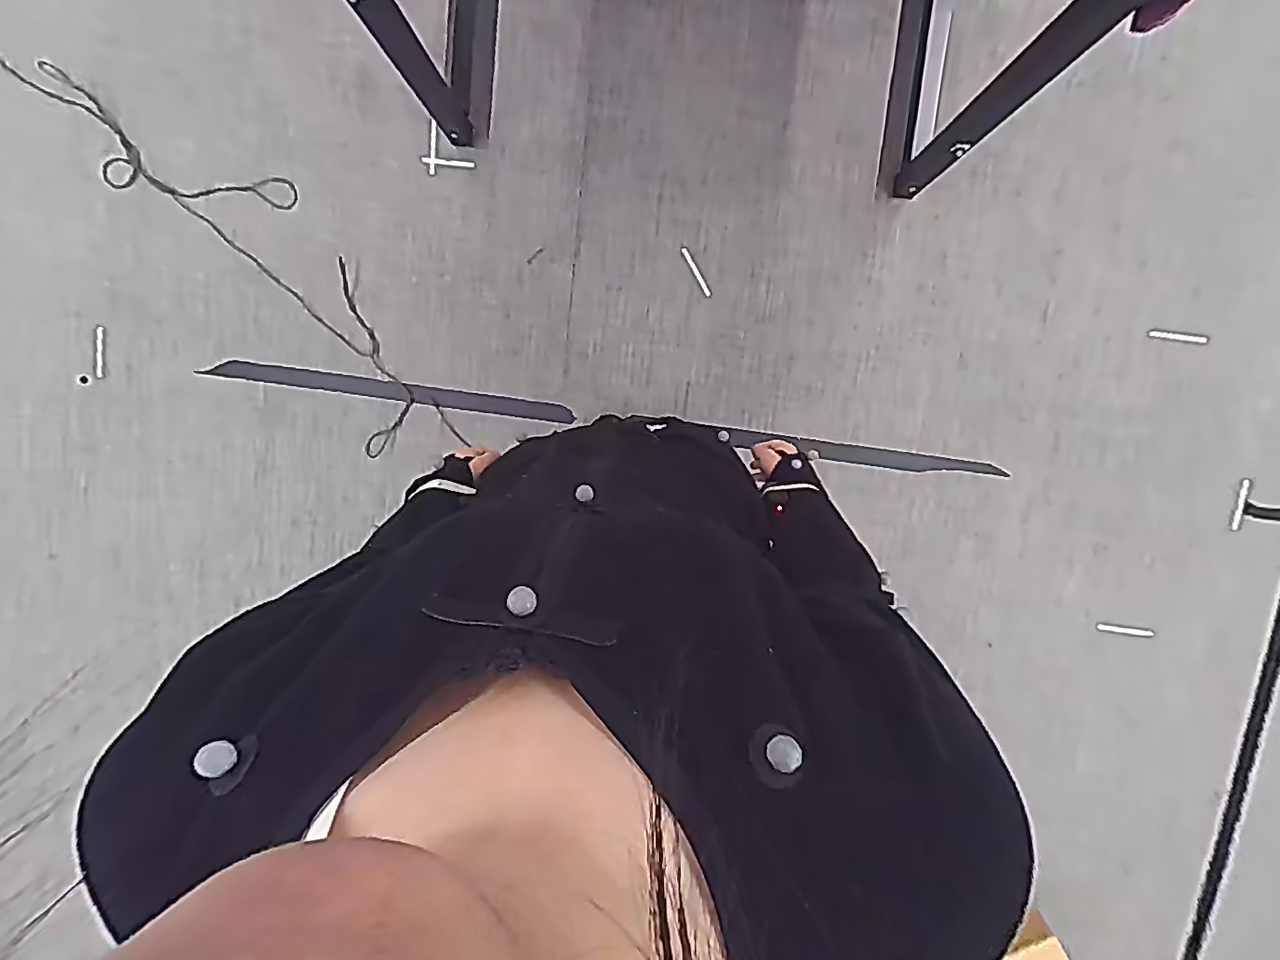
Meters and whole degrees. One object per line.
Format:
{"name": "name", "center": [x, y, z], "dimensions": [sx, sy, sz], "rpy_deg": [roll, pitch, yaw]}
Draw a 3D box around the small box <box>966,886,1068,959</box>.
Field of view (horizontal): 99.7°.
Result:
{"name": "small box", "center": [1.084, 1.317, 1.550], "dimensions": [0.168, 0.176, 0.179], "rpy_deg": [-30, 97, 5]}
